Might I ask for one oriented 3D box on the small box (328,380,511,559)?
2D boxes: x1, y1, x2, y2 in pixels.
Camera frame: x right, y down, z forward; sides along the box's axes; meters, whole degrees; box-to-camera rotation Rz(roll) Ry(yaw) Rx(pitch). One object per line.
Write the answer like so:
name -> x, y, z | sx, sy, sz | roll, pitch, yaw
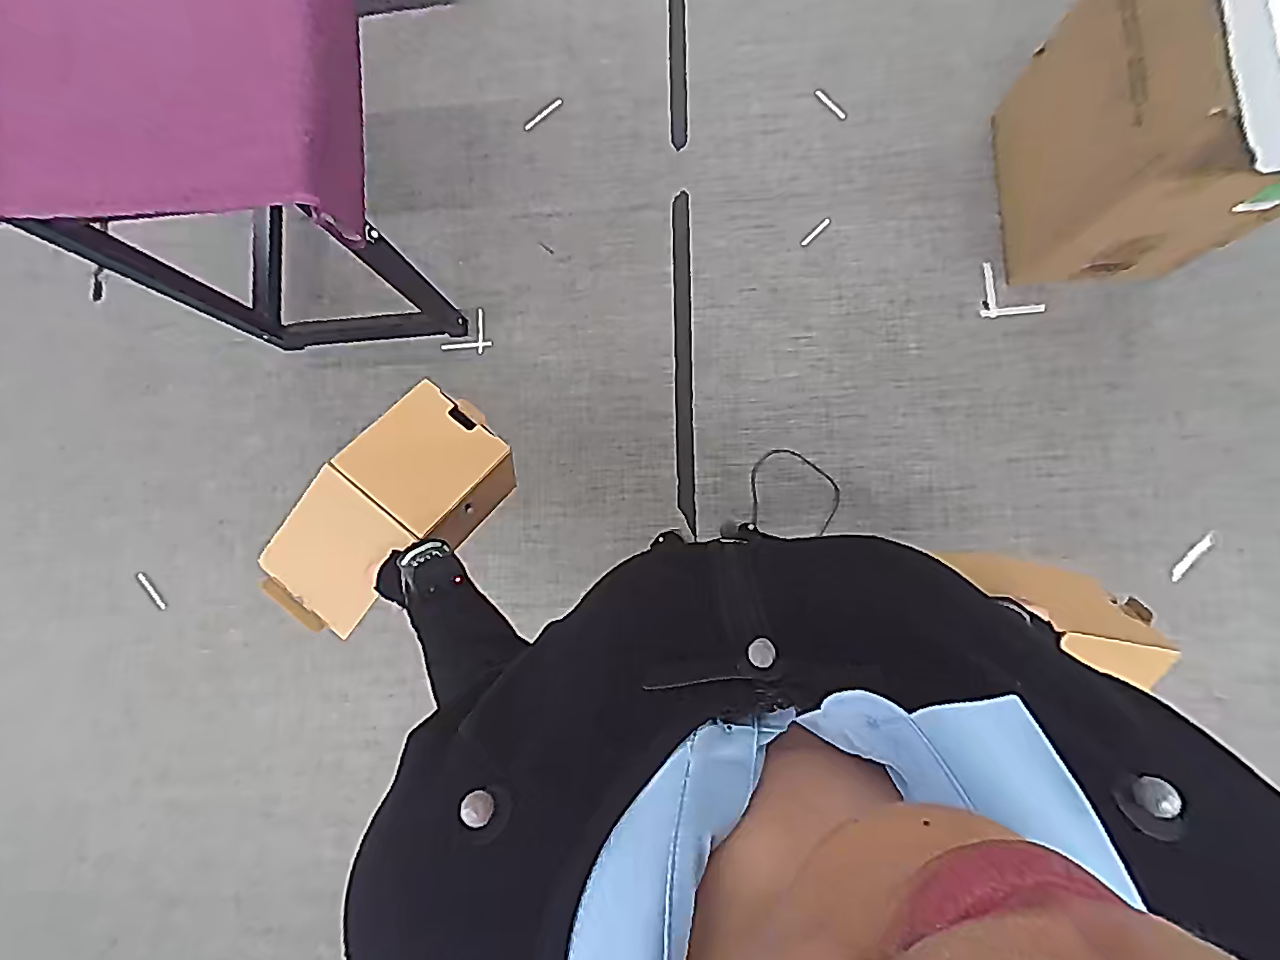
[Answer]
small box -> -0.306, -0.005, 0.800 | 0.168, 0.176, 0.179 | 39, 69, 4
